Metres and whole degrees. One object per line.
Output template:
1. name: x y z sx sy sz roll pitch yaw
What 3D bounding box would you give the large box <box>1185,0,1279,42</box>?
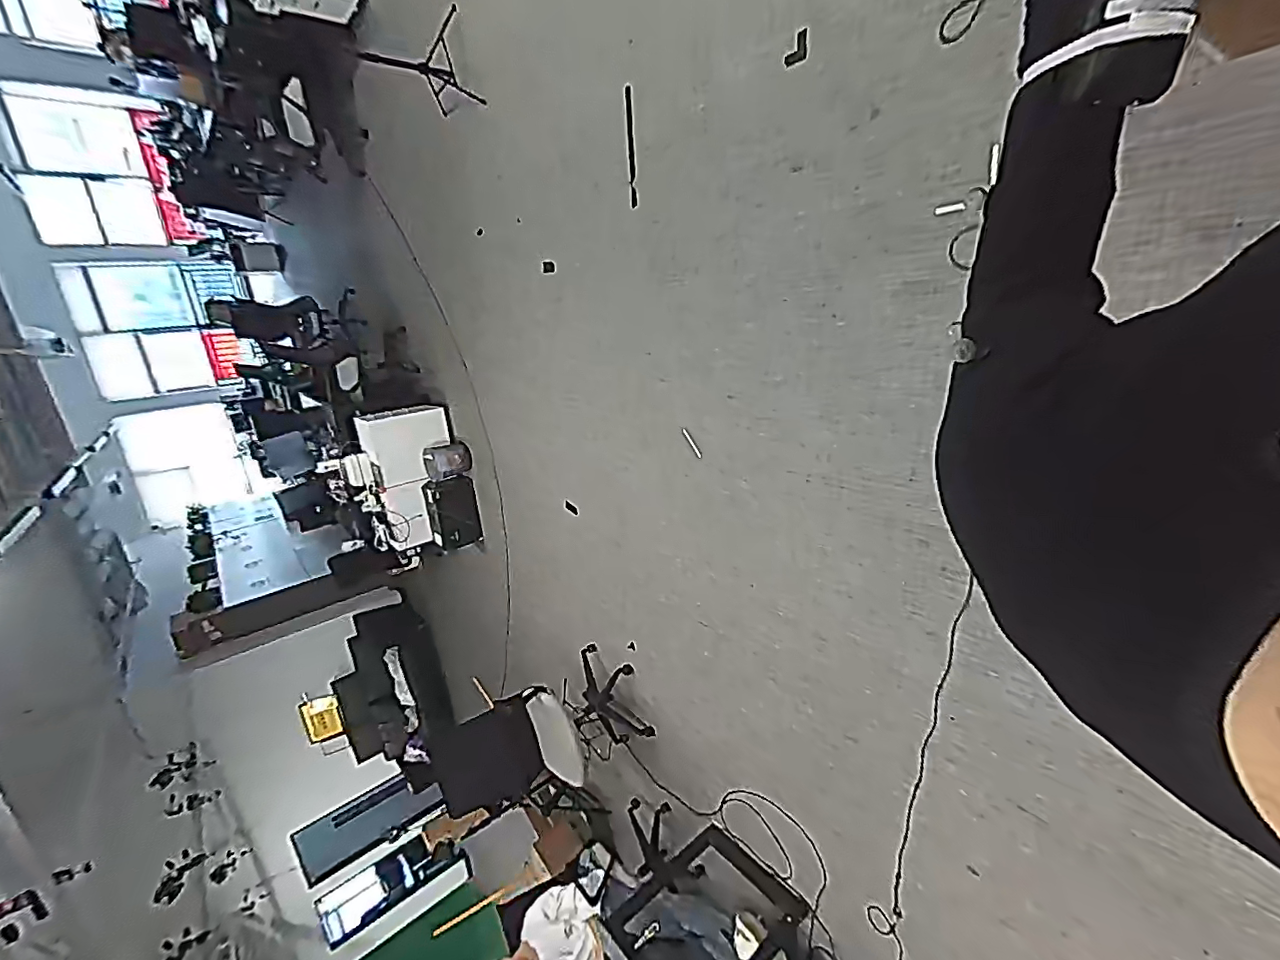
1. large box: 0.537 -0.485 0.235 0.408 0.320 0.320 11 118 50
